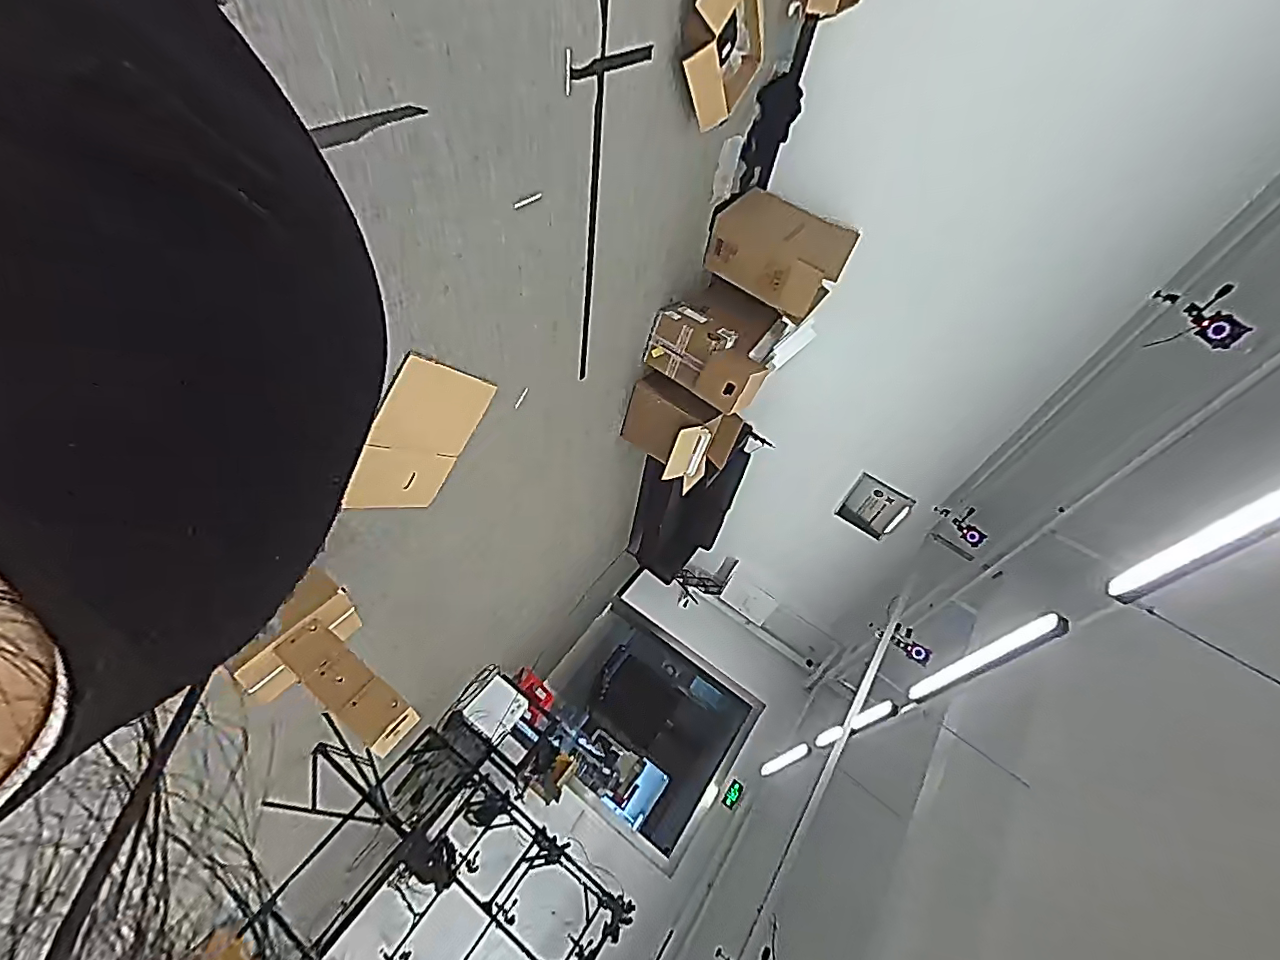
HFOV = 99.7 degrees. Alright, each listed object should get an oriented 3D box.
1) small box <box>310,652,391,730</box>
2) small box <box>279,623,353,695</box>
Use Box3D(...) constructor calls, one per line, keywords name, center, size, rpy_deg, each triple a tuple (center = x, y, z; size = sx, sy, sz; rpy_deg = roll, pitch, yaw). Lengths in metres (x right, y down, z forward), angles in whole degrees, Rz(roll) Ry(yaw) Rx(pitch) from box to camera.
Box3D(name="small box", center=(-1.012, 0.732, 1.891), size=(0.168, 0.176, 0.179), rpy_deg=(-45, 159, -35))
Box3D(name="small box", center=(-1.143, 0.639, 1.928), size=(0.168, 0.176, 0.179), rpy_deg=(-44, 160, -38))
